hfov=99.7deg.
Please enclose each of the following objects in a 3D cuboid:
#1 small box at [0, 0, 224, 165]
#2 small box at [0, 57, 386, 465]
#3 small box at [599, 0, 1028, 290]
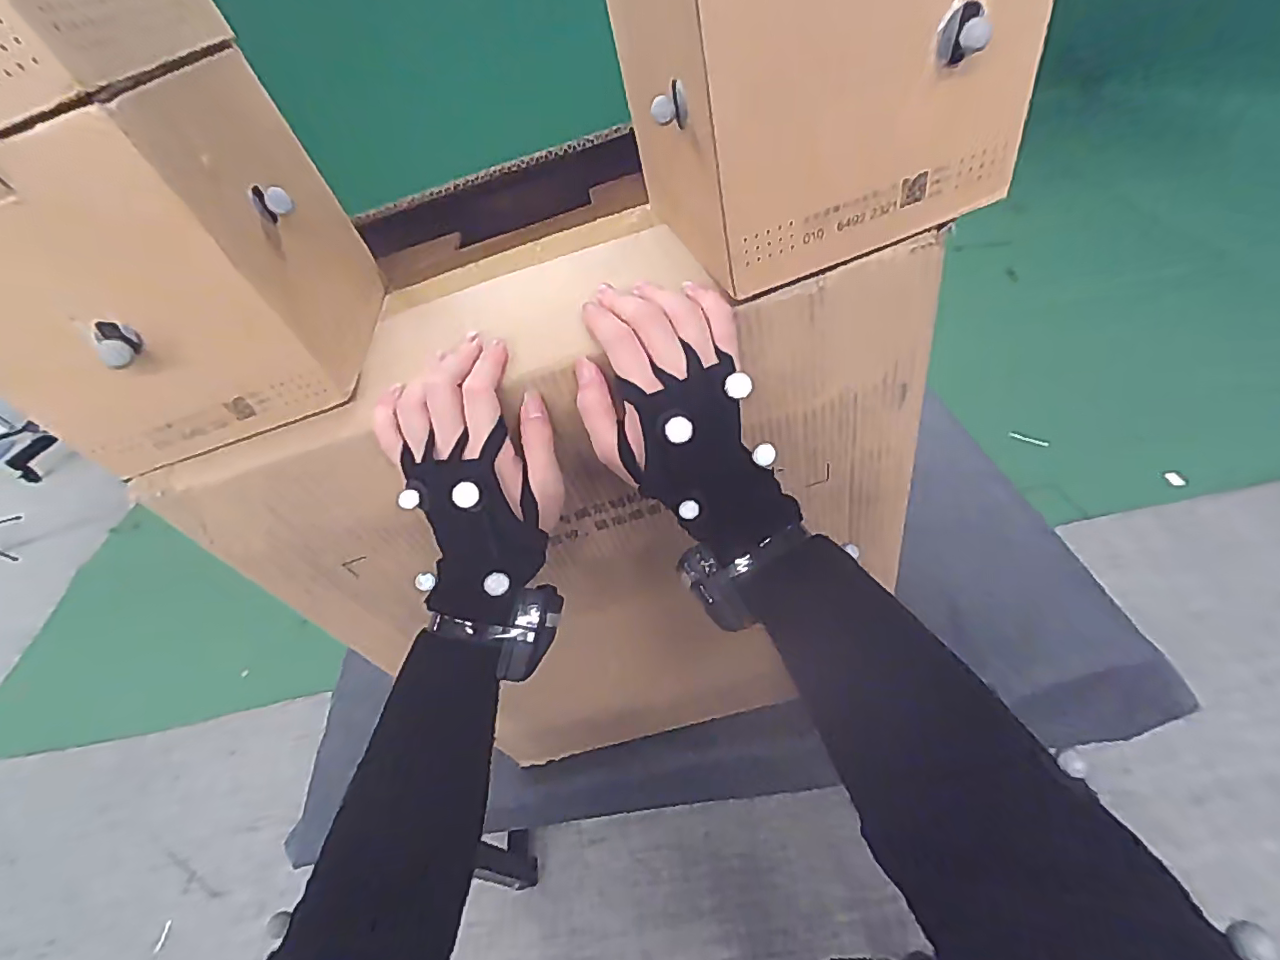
[{"bbox_3d":[-0.335,-0.238,0.232,0.168,0.176,0.179,-18,46,5],"label":"small box"},{"bbox_3d":[-0.292,-0.130,0.350,0.168,0.176,0.179,-18,46,3],"label":"small box"},{"bbox_3d":[0.086,-0.230,0.306,0.168,0.176,0.179,-20,45,-2],"label":"small box"}]
